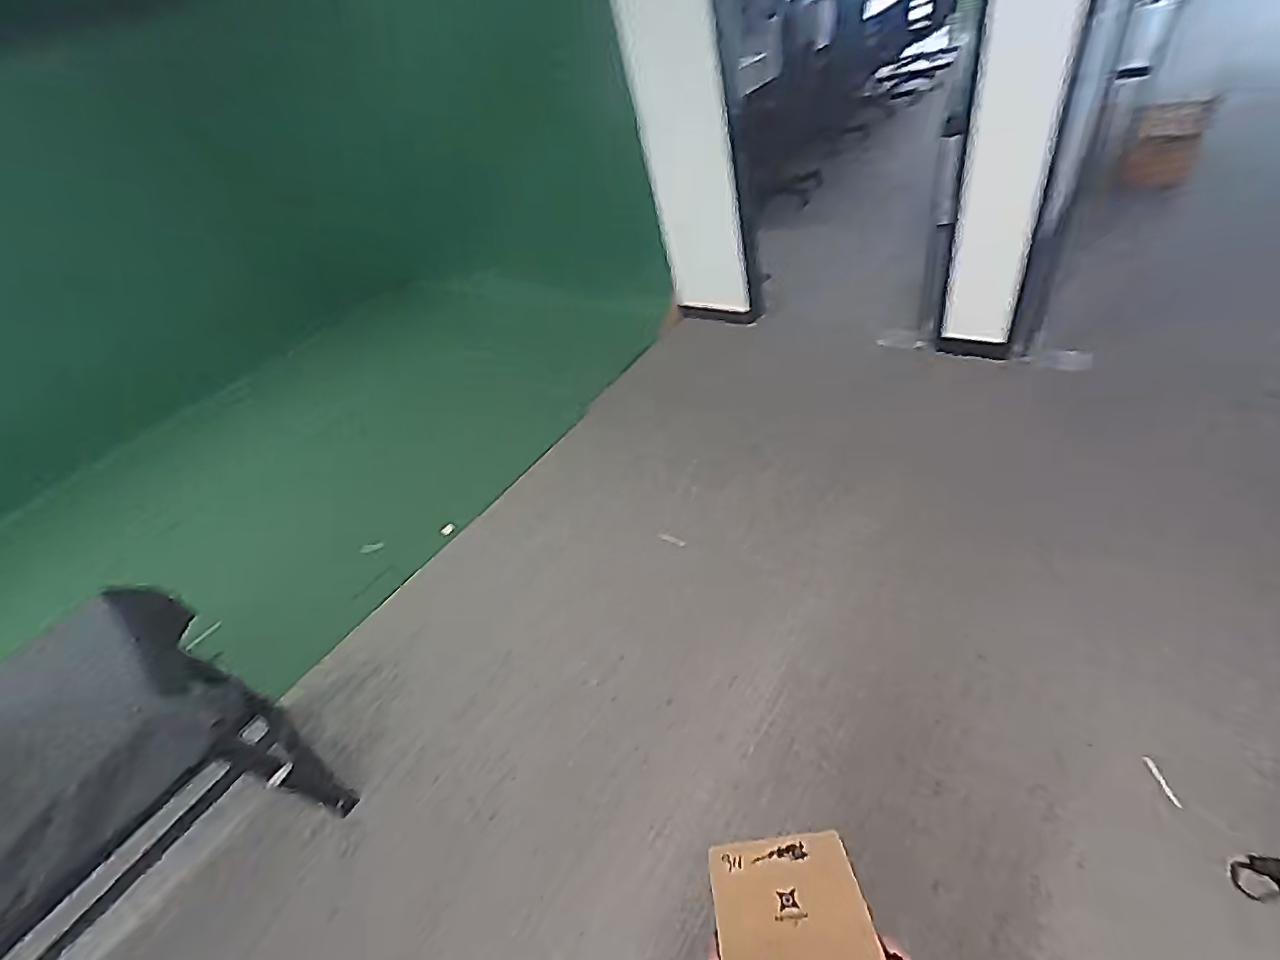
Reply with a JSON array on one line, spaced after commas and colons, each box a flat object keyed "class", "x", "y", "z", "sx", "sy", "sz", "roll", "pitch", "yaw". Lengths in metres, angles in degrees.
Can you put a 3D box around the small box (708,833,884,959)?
[{"class": "small box", "x": 0.179, "y": 0.551, "z": 0.612, "sx": 0.168, "sy": 0.176, "sz": 0.179, "roll": -10, "pitch": 15, "yaw": 3}]
